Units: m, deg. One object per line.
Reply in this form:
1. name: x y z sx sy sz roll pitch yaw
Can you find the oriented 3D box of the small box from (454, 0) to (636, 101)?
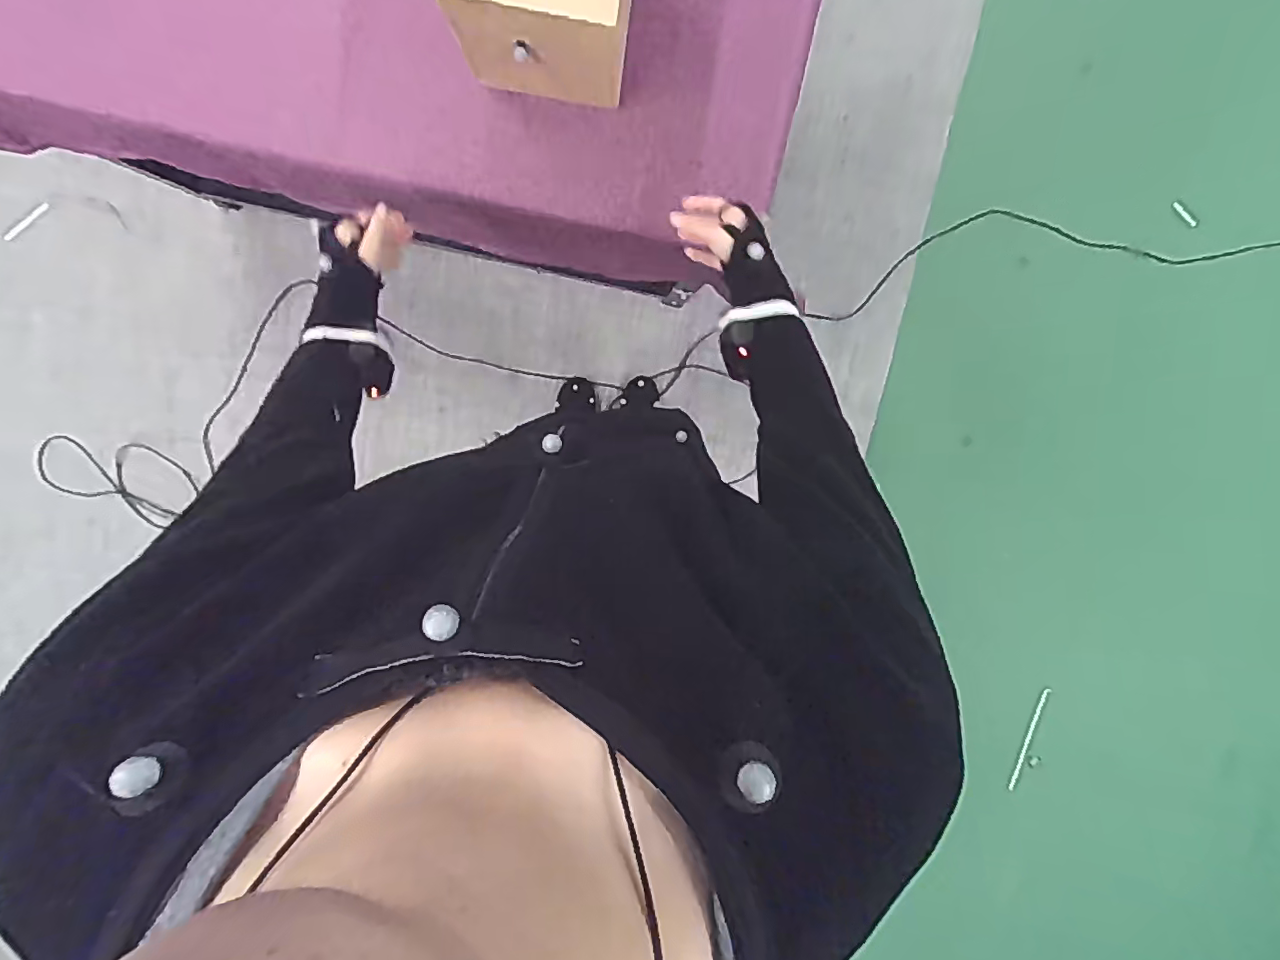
1. small box: -0.096 -0.543 0.576 0.179 0.176 0.168 8 100 -3
